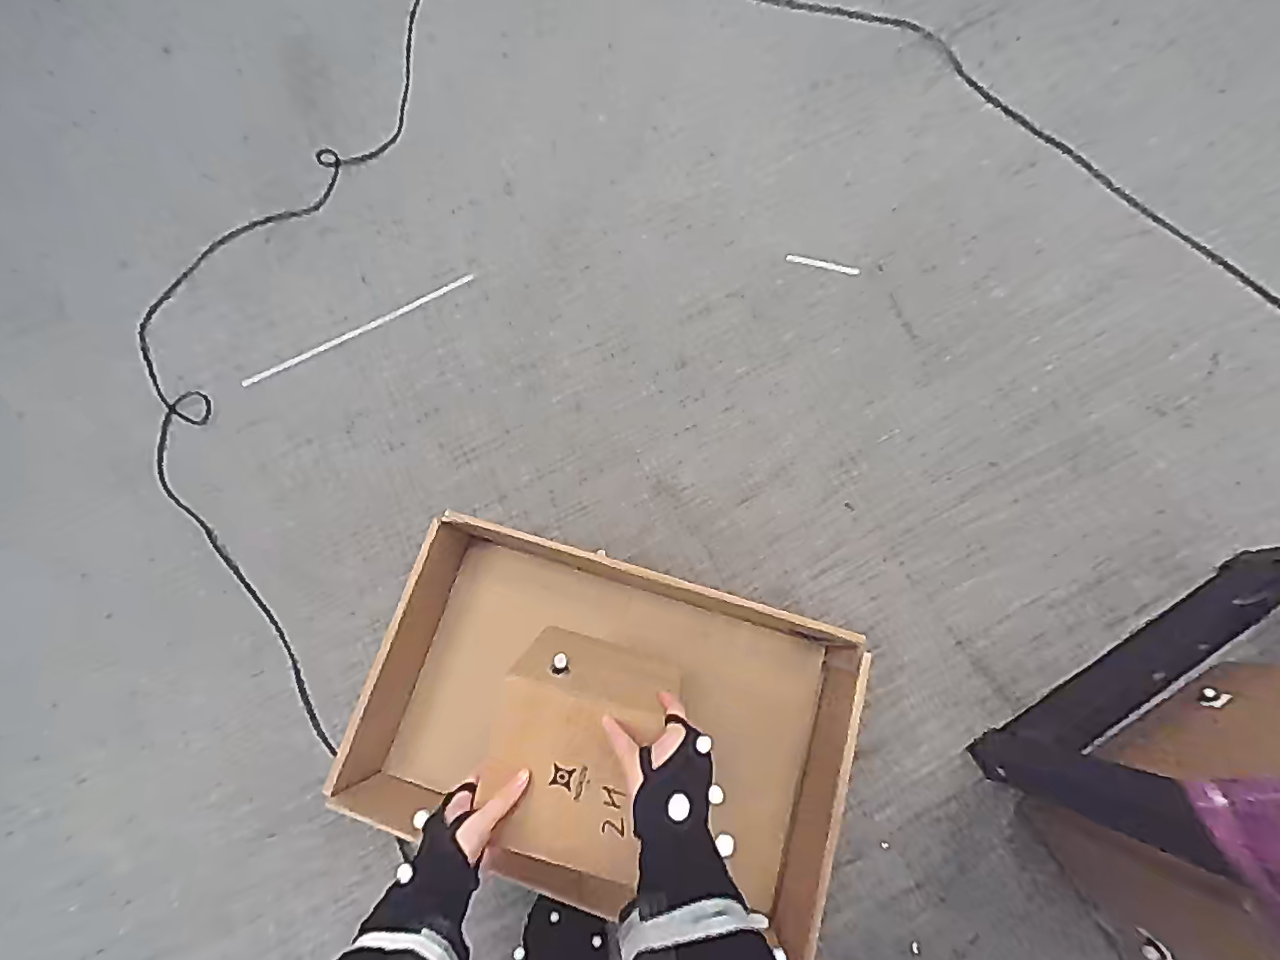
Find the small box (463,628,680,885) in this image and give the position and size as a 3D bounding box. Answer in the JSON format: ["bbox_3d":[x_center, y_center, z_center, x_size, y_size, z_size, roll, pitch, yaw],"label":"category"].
[{"bbox_3d":[-0.061,0.278,0.589,0.179,0.176,0.168,15,95,4],"label":"small box"}]
